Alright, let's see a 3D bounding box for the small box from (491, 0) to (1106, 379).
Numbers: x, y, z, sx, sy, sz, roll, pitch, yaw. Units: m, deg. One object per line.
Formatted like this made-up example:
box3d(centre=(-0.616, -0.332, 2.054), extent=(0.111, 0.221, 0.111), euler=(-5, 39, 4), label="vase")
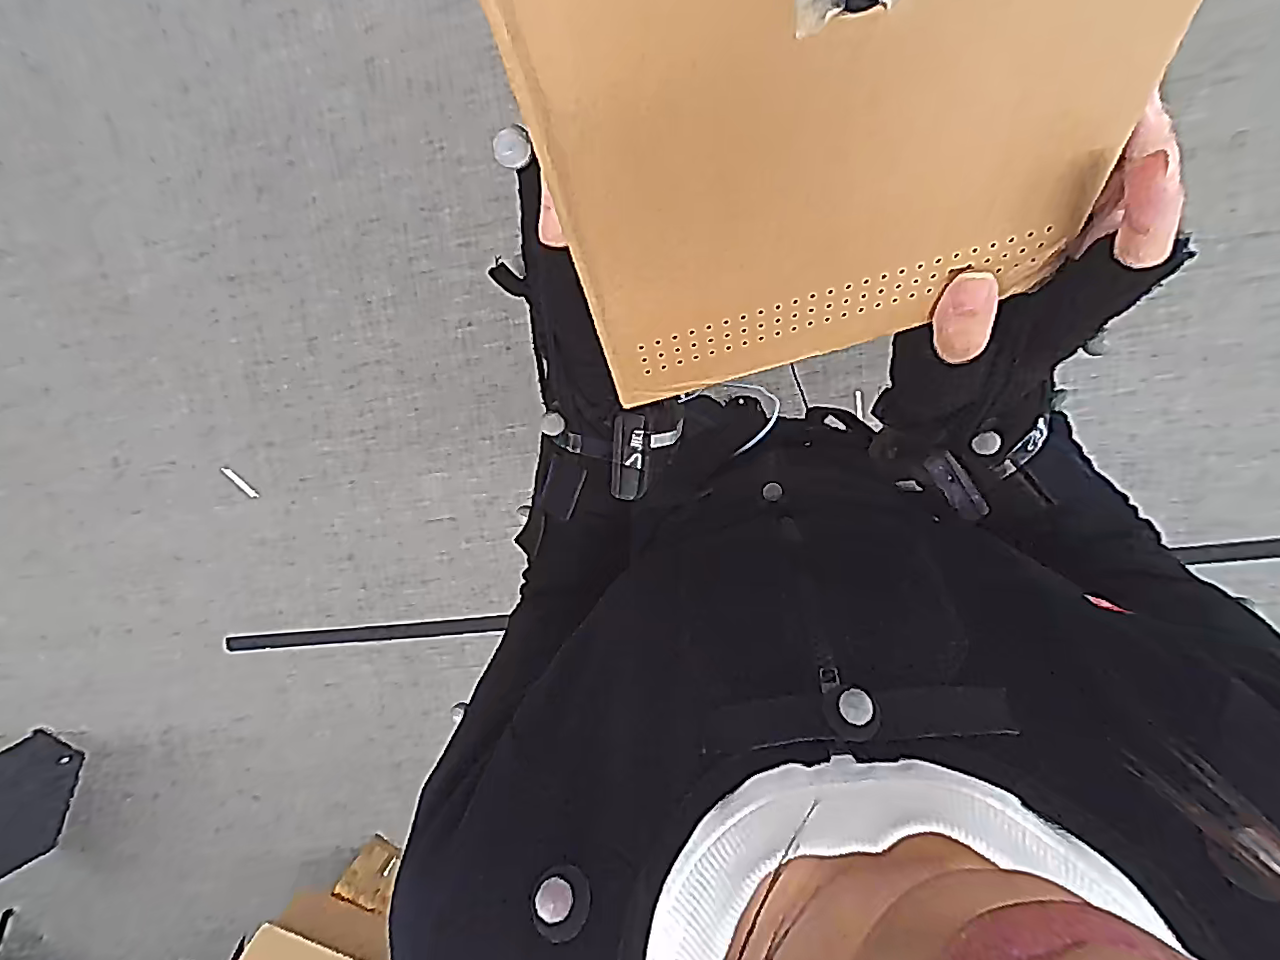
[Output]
box3d(centre=(0.047, -0.166, 0.215), extent=(0.179, 0.176, 0.168), euler=(-15, 57, 4), label="small box")
